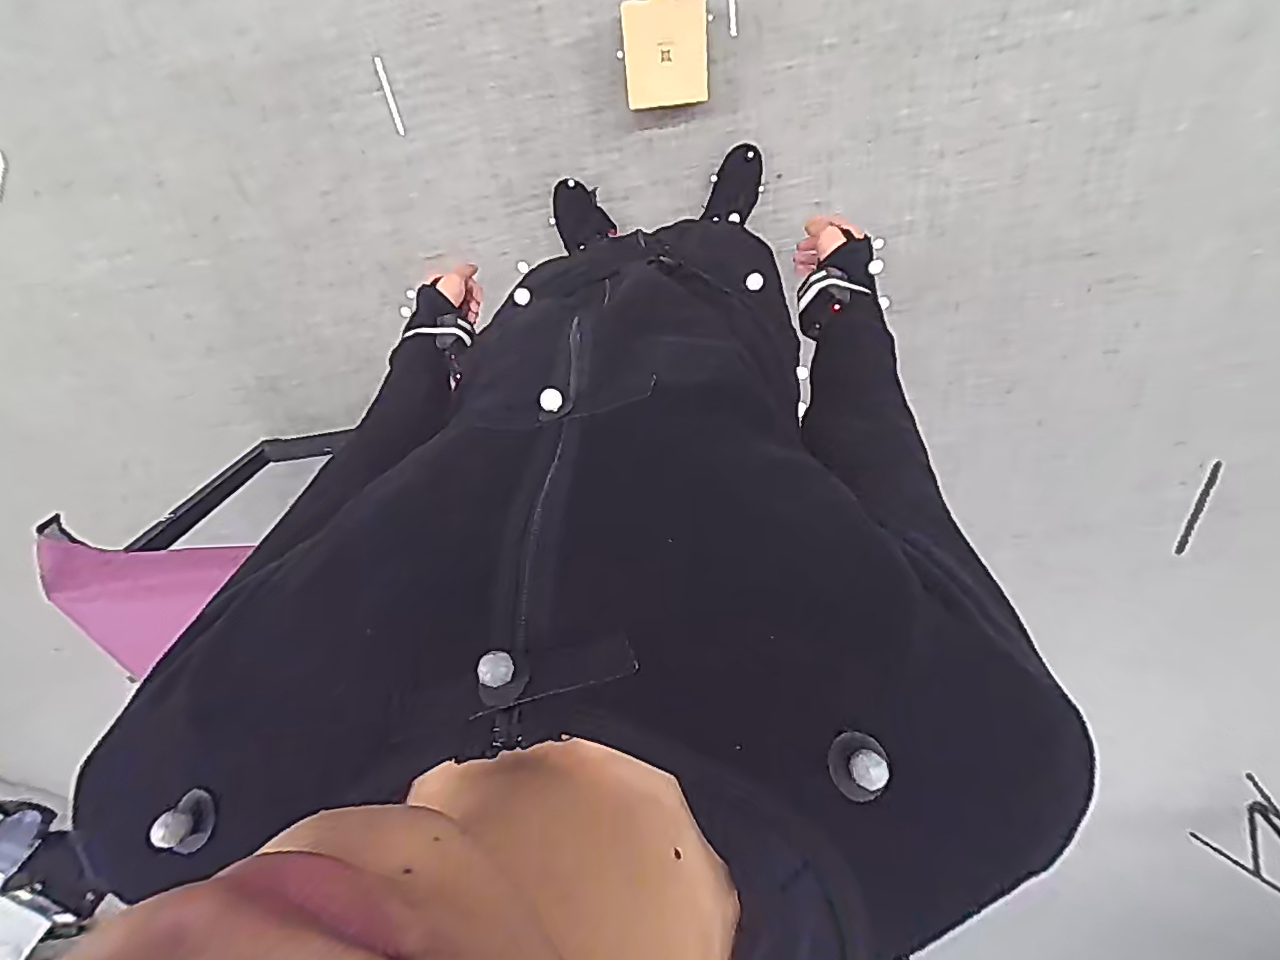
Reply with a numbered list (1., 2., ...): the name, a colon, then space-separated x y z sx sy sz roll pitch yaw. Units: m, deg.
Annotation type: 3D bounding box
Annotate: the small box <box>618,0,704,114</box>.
1. small box: 0.049 -0.890 1.147 0.168 0.176 0.179 -4 122 5
